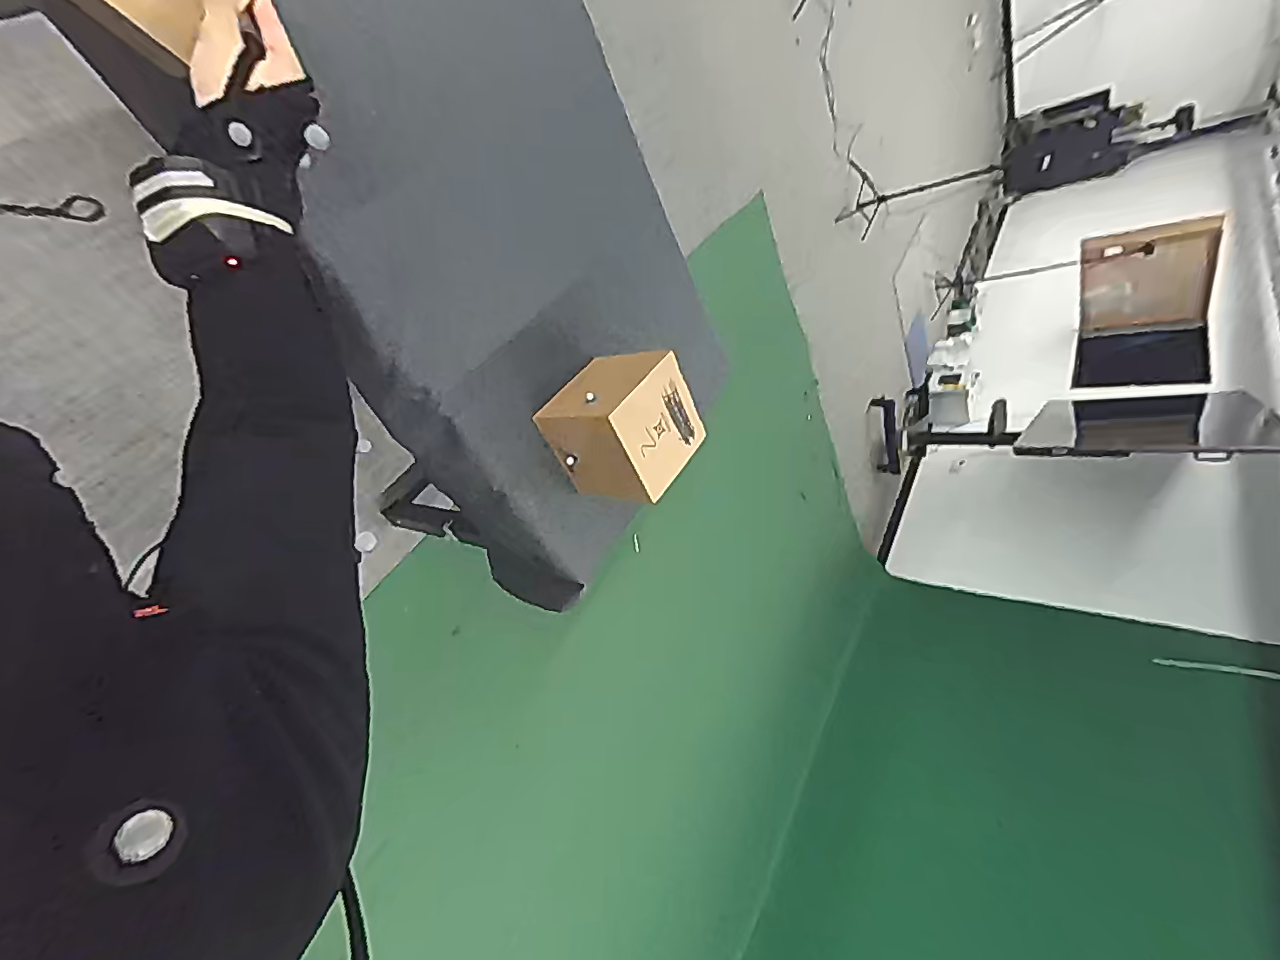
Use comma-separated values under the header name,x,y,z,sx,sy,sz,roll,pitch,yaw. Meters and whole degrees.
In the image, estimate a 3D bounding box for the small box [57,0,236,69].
name,x,y,z,sx,sy,sz,roll,pitch,yaw
small box,-0.366,-0.408,0.348,0.168,0.176,0.179,-58,145,3
